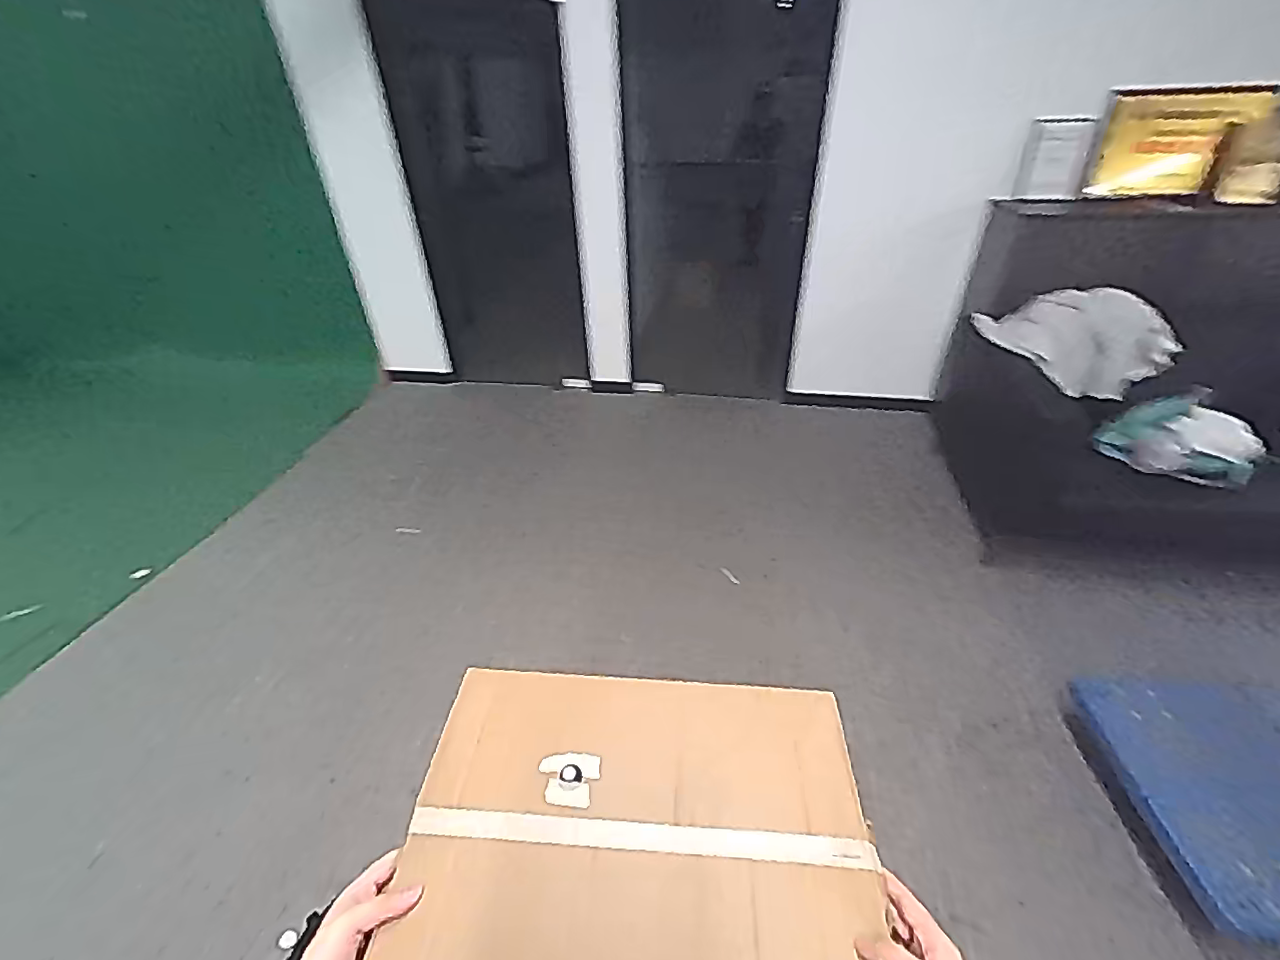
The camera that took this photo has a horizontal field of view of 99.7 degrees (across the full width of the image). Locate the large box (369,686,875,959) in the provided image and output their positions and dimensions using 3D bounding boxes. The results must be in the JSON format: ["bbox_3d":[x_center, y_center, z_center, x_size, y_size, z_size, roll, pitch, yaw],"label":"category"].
[{"bbox_3d":[-0.007,0.442,0.576,0.408,0.320,0.320,0,38,3],"label":"large box"}]
